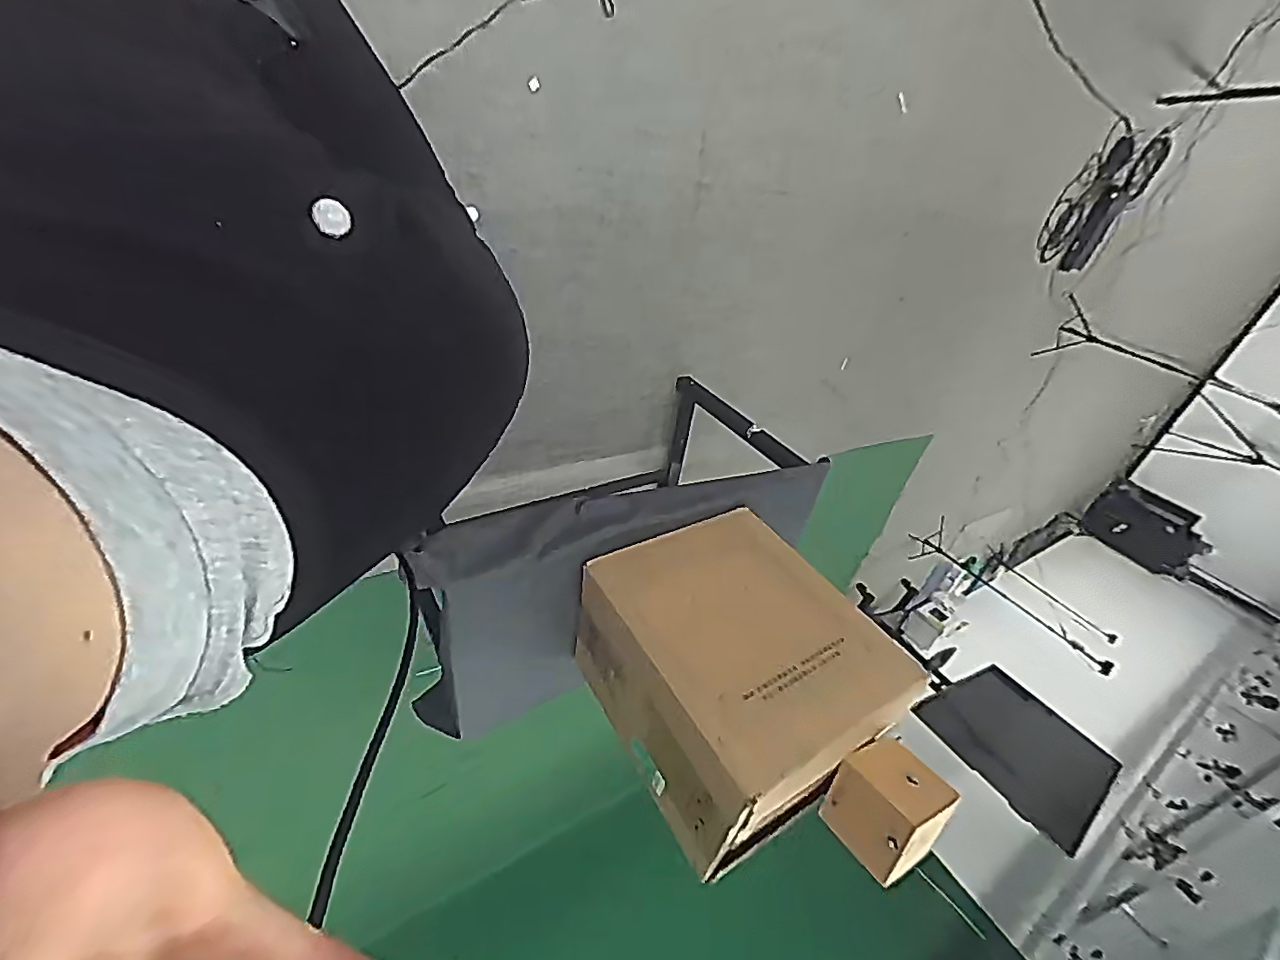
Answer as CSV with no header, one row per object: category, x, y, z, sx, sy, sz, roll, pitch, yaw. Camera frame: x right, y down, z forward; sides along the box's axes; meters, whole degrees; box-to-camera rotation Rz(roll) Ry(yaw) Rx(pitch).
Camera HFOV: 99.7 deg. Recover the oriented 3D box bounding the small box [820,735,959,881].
small box,0.511,0.665,1.122,0.179,0.176,0.168,-2,114,-36
